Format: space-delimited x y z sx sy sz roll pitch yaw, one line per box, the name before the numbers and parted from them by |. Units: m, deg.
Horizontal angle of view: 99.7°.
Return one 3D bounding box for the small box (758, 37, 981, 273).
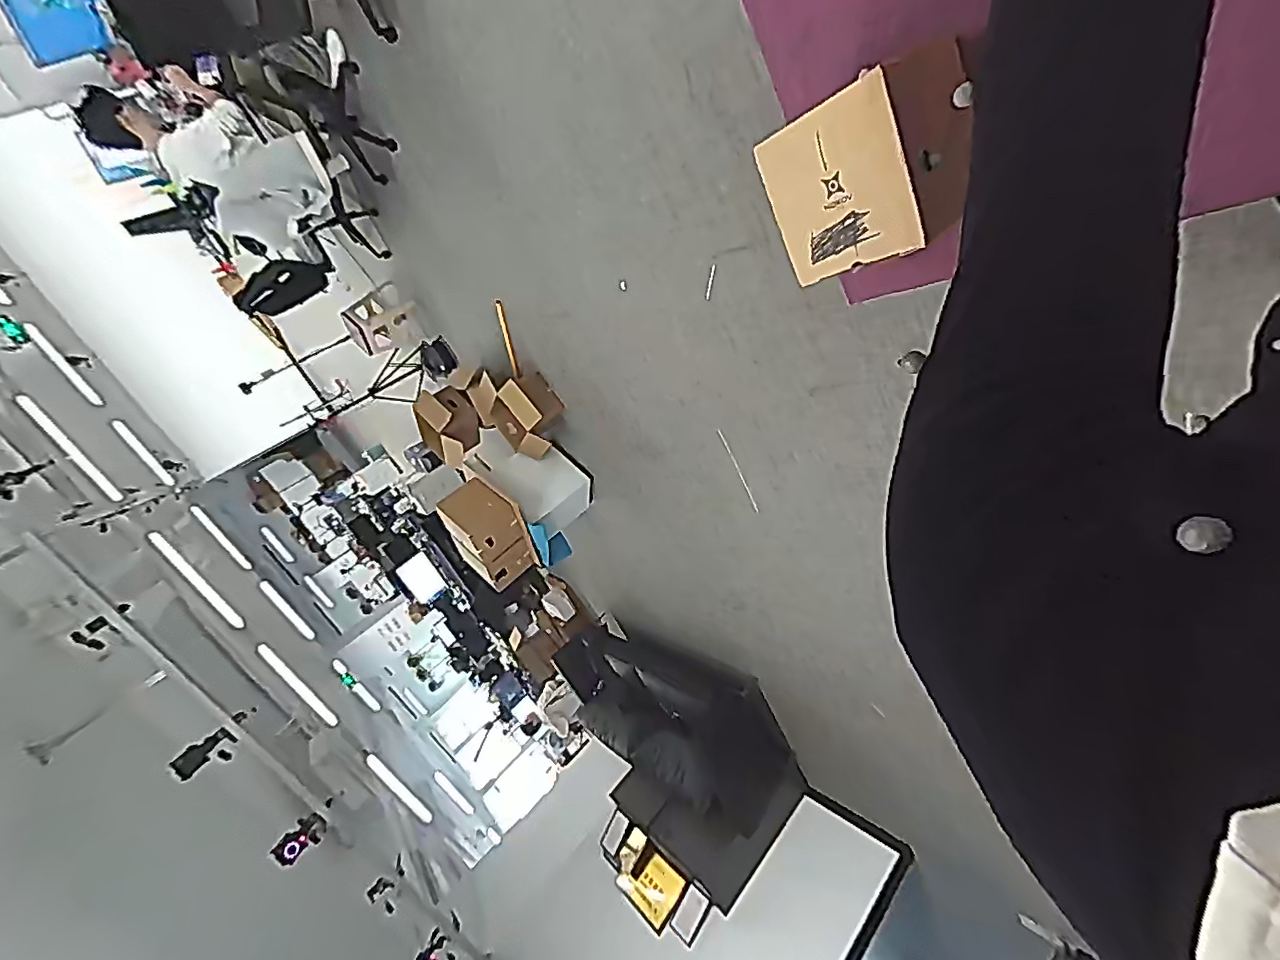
small box | 0.282 -0.386 0.657 0.168 0.176 0.179 4 127 56
